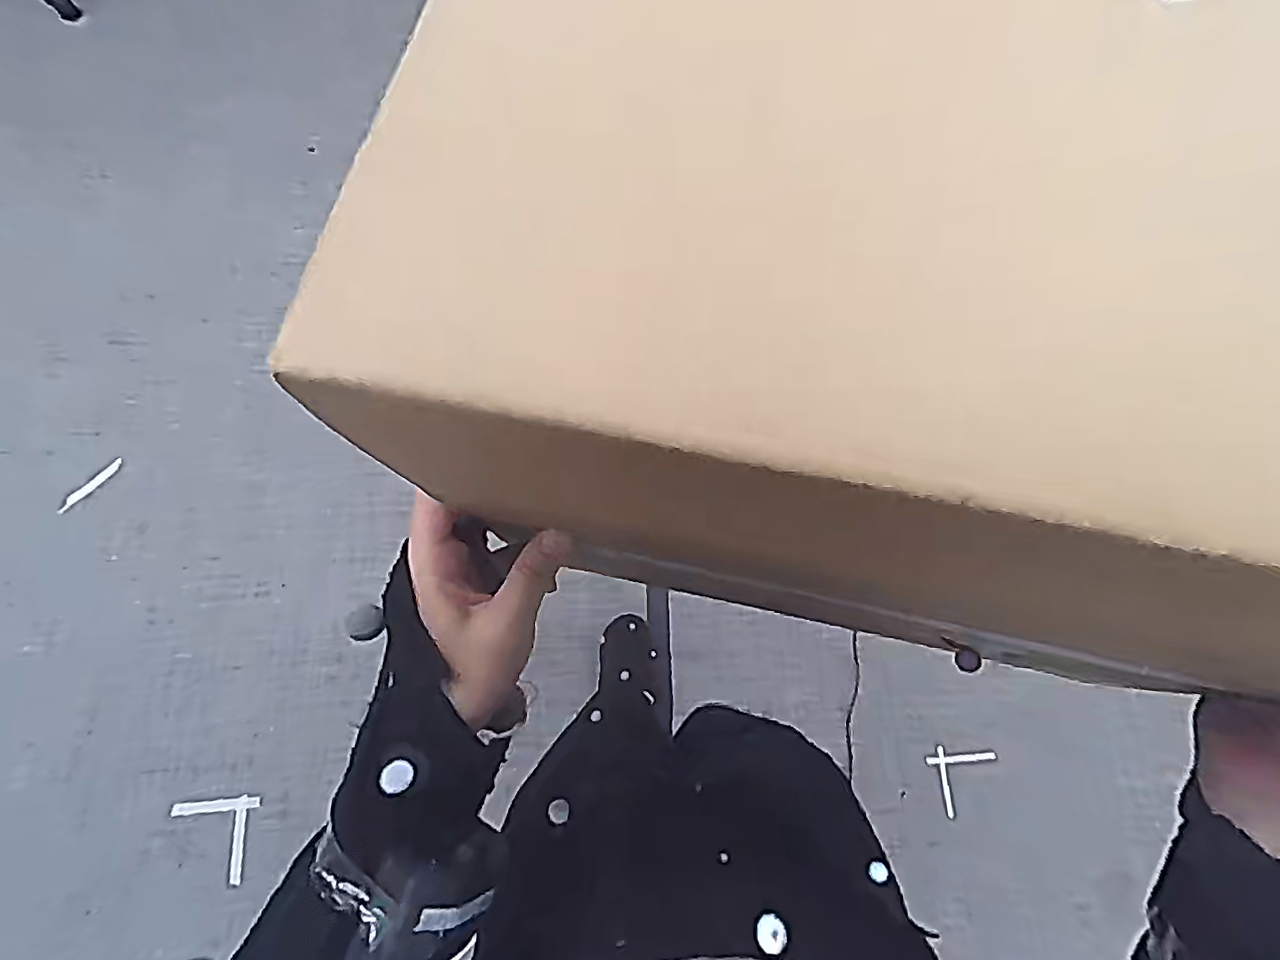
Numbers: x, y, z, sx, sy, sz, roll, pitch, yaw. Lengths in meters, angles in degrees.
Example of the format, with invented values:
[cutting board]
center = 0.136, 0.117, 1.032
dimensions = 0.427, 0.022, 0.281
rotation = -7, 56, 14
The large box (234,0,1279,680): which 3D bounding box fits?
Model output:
[large box]
center = 0.127, -0.096, 0.290
dimensions = 0.408, 0.320, 0.320
rotation = 10, 76, 4
